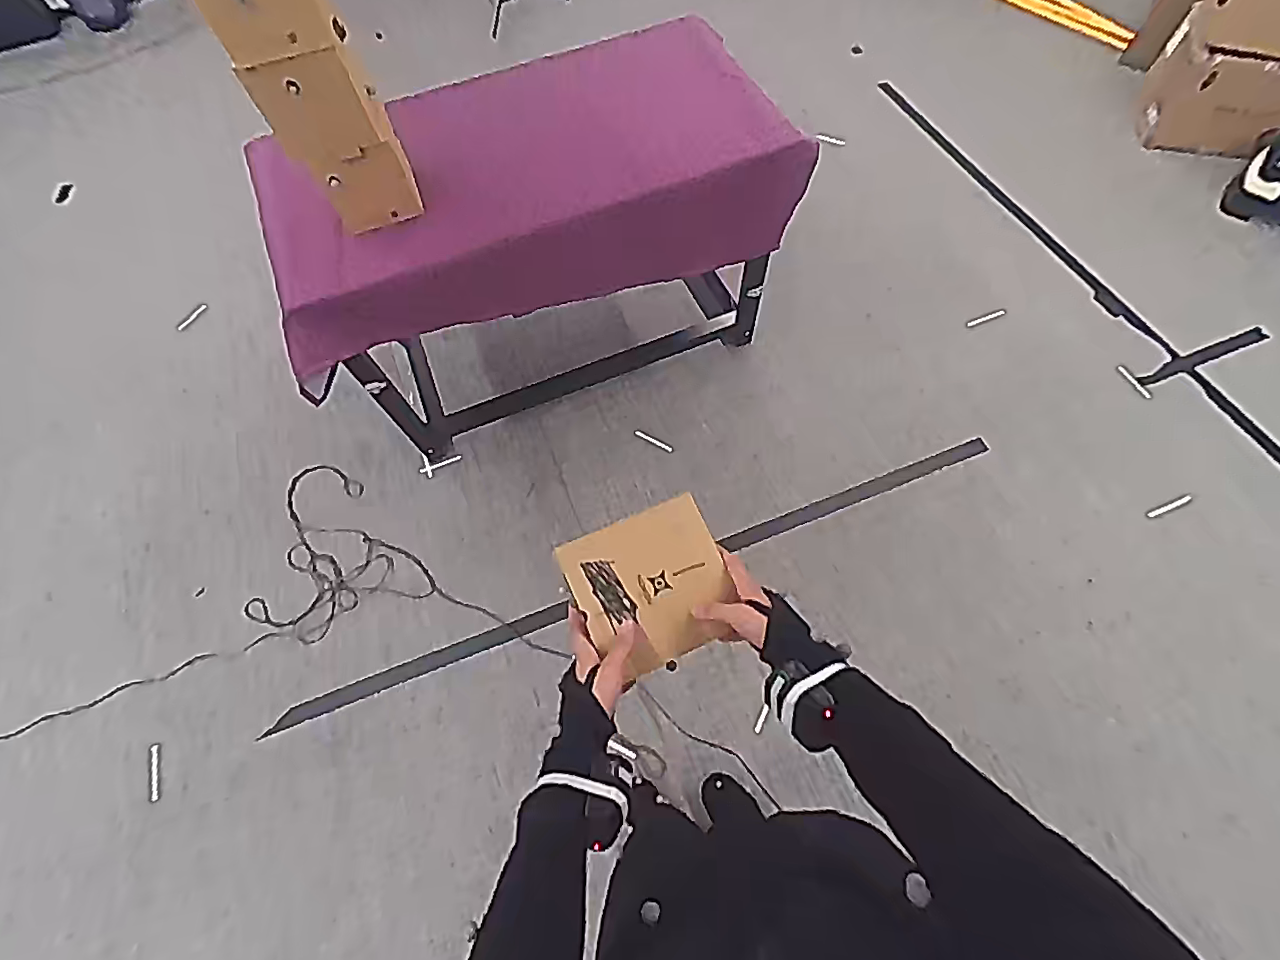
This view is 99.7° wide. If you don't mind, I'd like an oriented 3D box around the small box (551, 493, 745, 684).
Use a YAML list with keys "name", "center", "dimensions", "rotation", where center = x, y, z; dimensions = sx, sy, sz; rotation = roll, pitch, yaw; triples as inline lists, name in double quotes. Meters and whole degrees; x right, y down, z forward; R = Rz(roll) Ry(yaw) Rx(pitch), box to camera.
- name: "small box"
  center: [0.004, 0.140, 0.684]
  dimensions: [0.179, 0.176, 0.168]
  rotation: [-23, 77, -11]

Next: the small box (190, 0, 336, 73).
- name: "small box"
  center: [-0.615, -0.788, 0.864]
  dimensions: [0.168, 0.176, 0.179]
  rotation: [-21, 64, -7]

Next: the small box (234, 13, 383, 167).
- name: "small box"
  center: [-0.609, -0.721, 1.013]
  dimensions: [0.179, 0.176, 0.168]
  rotation: [-15, 65, -4]
